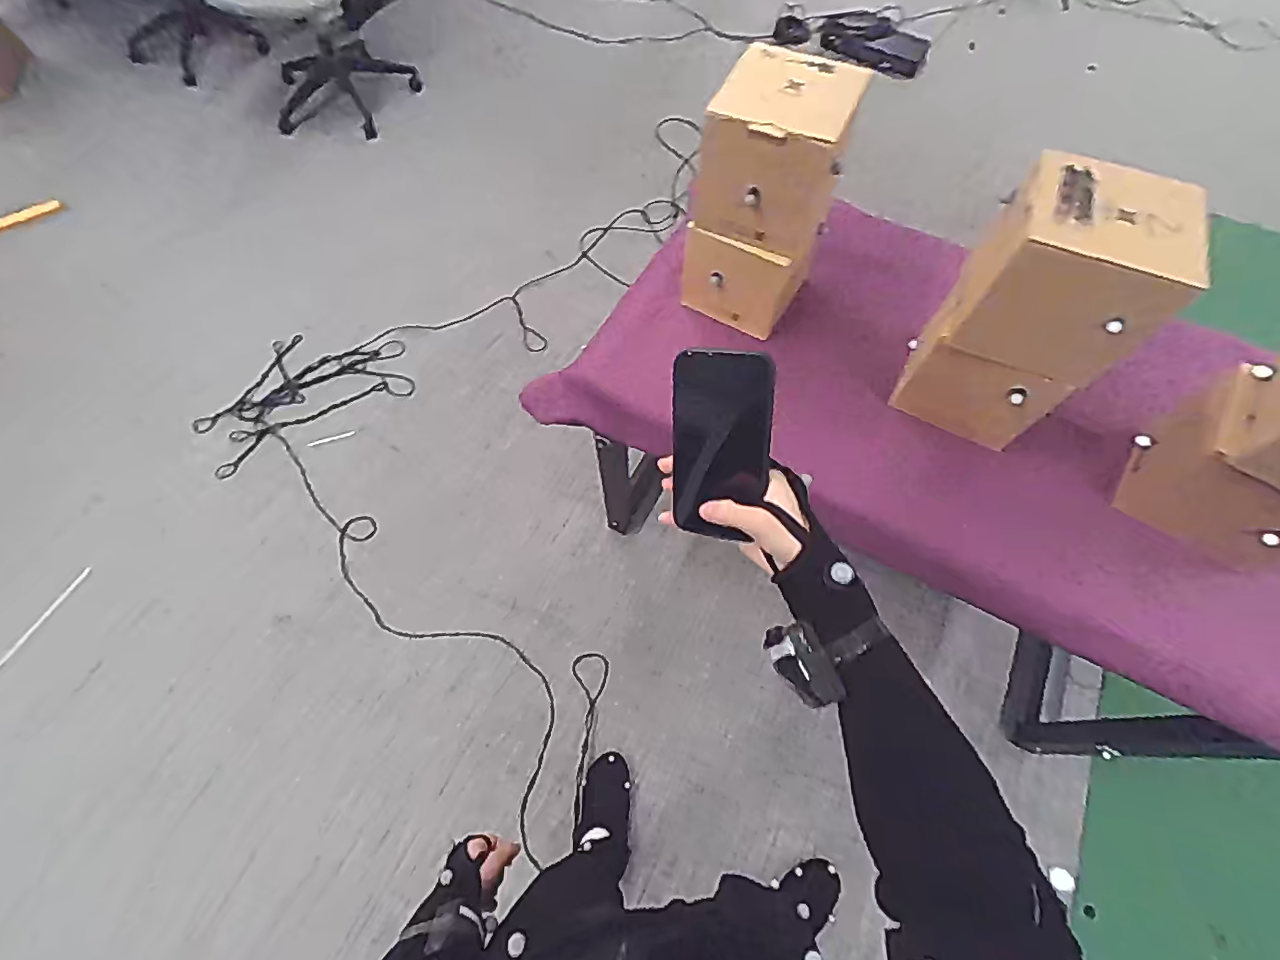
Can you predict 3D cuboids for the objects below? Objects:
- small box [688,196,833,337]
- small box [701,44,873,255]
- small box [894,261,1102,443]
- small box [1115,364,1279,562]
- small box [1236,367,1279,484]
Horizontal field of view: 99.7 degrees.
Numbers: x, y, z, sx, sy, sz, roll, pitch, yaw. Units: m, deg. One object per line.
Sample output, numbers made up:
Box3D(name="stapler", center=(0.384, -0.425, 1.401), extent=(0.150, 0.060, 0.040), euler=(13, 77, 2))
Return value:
Box3D(name="small box", center=(0.189, -0.371, 0.895), extent=(0.168, 0.176, 0.179), euler=(28, 67, 14))
Box3D(name="small box", center=(0.192, -0.450, 0.751), extent=(0.168, 0.176, 0.179), euler=(24, 67, 11))
Box3D(name="small box", center=(0.514, -0.178, 0.797), extent=(0.179, 0.176, 0.168), euler=(28, 67, 13))
Box3D(name="small box", center=(0.800, -0.011, 0.714), extent=(0.179, 0.176, 0.168), euler=(34, 68, 16))
Box3D(name="small box", center=(0.798, -0.068, 0.560), extent=(0.179, 0.176, 0.168), euler=(34, 68, 15))
